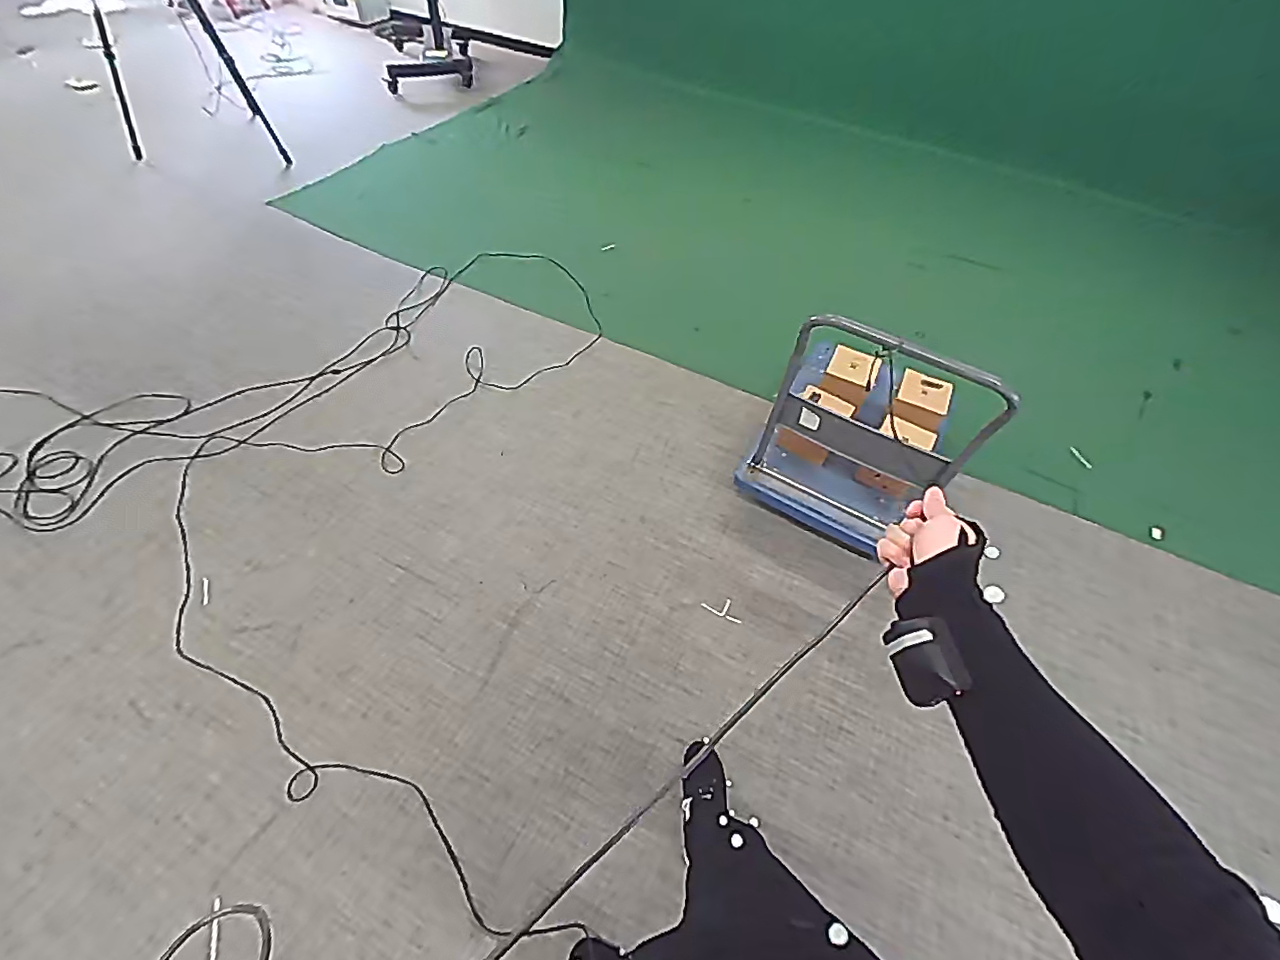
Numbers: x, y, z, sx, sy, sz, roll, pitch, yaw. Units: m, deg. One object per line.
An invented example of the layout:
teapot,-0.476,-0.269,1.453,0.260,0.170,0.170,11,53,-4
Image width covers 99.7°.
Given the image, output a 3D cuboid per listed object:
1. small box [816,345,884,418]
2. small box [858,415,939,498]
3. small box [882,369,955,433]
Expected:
small box,0.767,-0.358,1.989,0.168,0.176,0.179,25,56,13
small box,0.849,-0.077,1.786,0.168,0.176,0.179,28,57,17
small box,0.990,-0.258,1.929,0.168,0.176,0.179,24,56,15
